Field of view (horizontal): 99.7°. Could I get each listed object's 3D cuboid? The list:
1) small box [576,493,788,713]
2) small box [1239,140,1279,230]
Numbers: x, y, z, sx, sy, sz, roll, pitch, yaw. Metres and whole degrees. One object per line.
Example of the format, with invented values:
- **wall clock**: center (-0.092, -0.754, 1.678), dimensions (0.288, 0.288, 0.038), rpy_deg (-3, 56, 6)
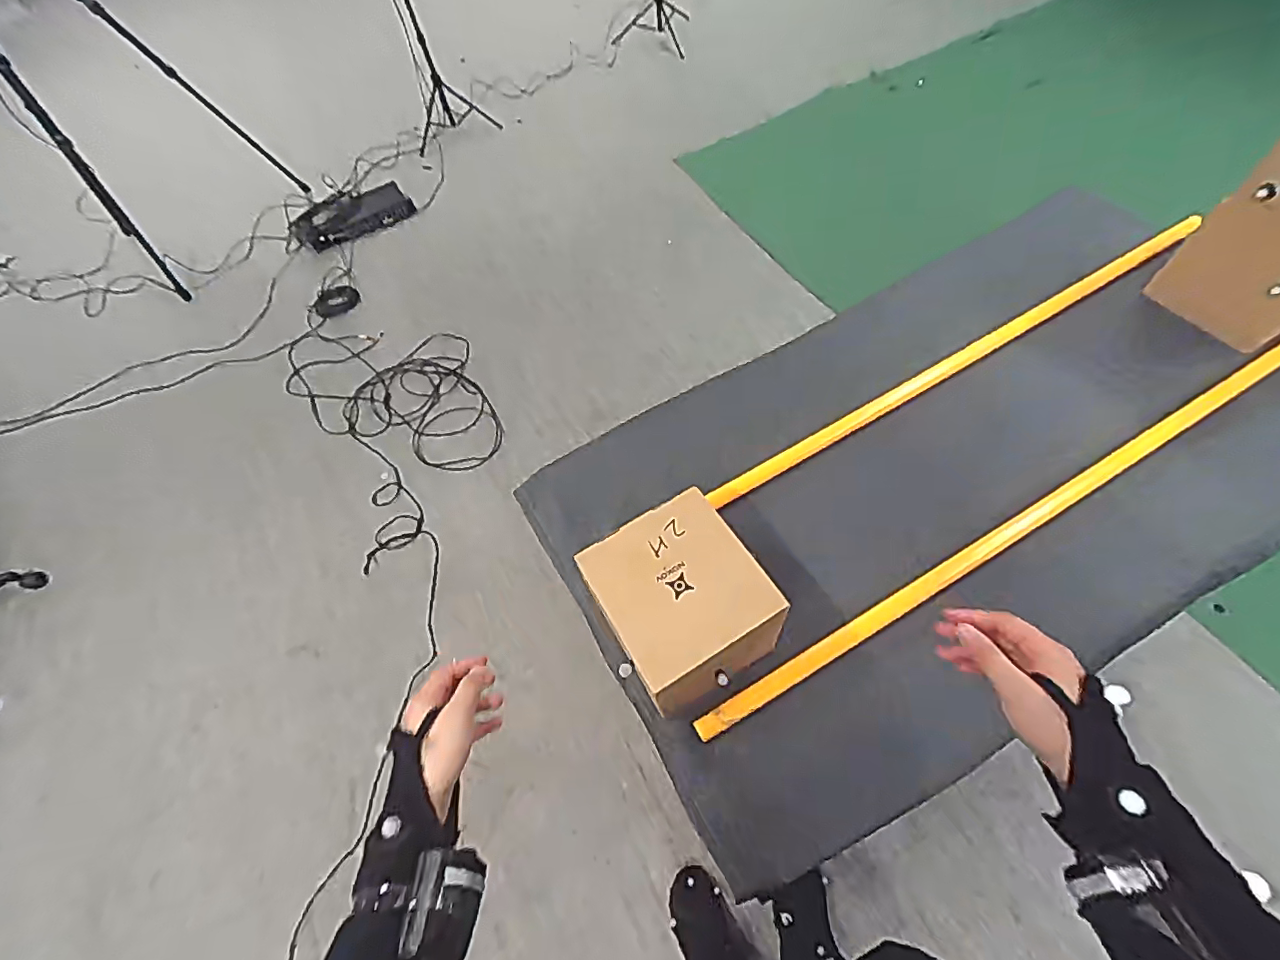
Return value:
- **small box**: center (0.049, 0.154, 0.640), dimensions (0.168, 0.176, 0.179), rpy_deg (-29, 59, -11)
- **small box**: center (0.930, -0.406, 0.671), dimensions (0.179, 0.176, 0.168), rpy_deg (-25, 61, -8)
